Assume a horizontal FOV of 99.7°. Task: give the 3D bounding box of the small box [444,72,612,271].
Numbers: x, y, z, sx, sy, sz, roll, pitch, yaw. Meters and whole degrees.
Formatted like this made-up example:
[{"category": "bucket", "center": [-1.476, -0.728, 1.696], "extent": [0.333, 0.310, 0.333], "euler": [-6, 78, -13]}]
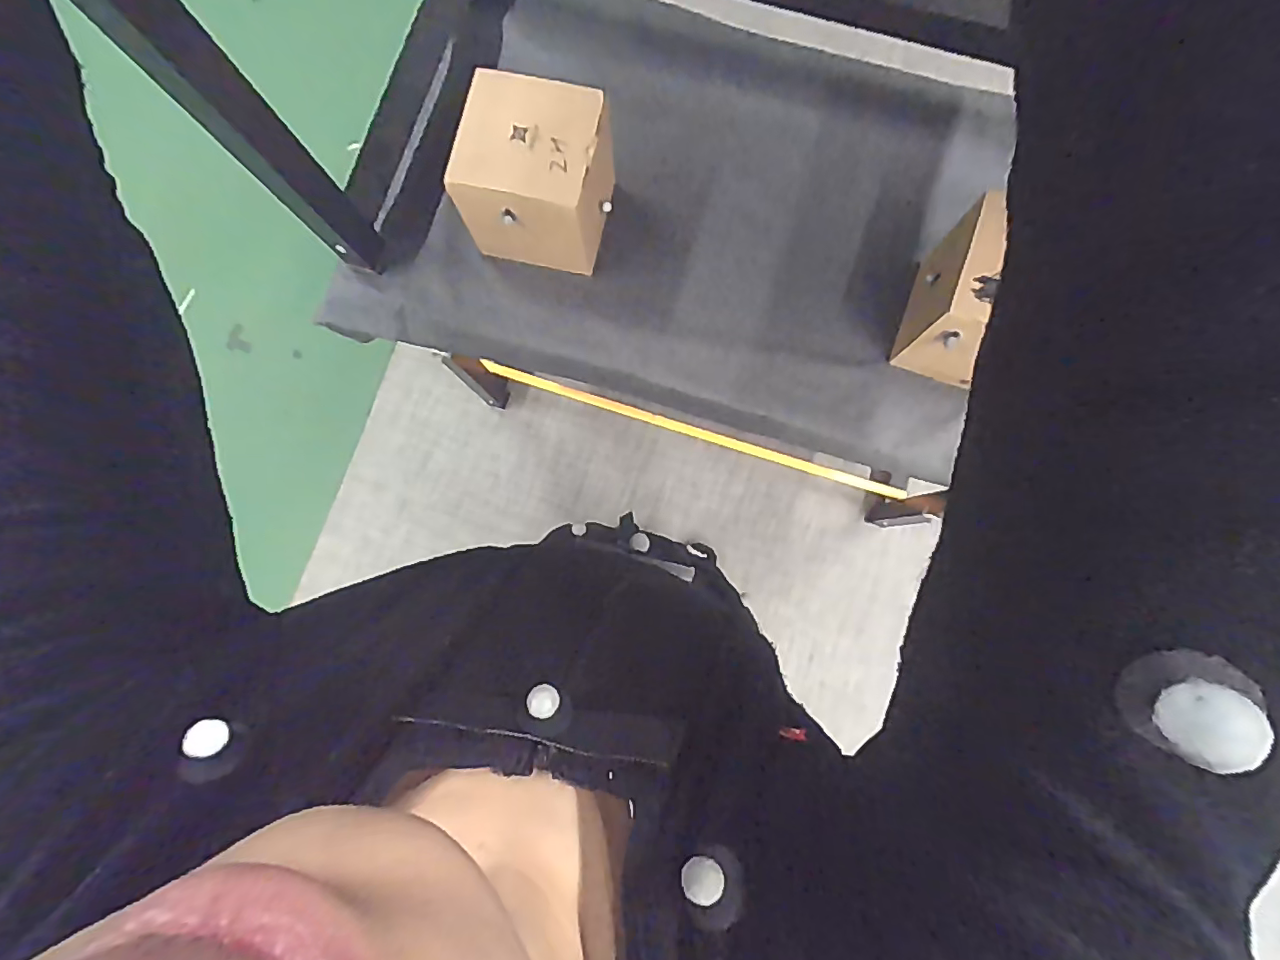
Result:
[{"category": "small box", "center": [-0.145, -0.421, 0.765], "extent": [0.179, 0.176, 0.168], "euler": [13, 83, 2]}]
